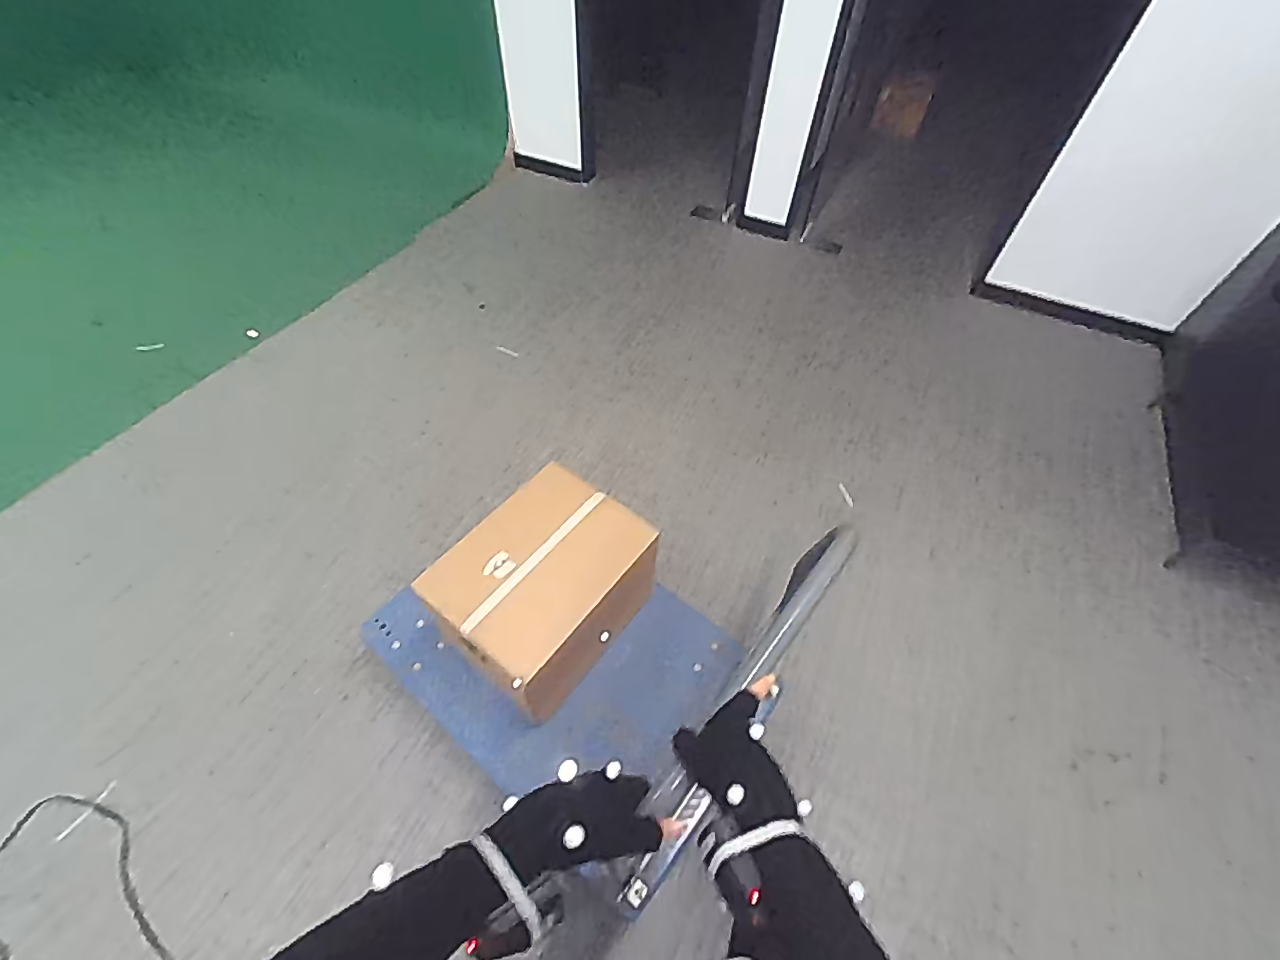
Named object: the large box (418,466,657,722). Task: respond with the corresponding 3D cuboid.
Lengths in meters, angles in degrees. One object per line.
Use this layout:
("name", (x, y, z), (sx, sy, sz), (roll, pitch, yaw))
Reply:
("large box", (-0.203, 0.253, 1.219), (0.320, 0.320, 0.408), (32, 59, 21))
